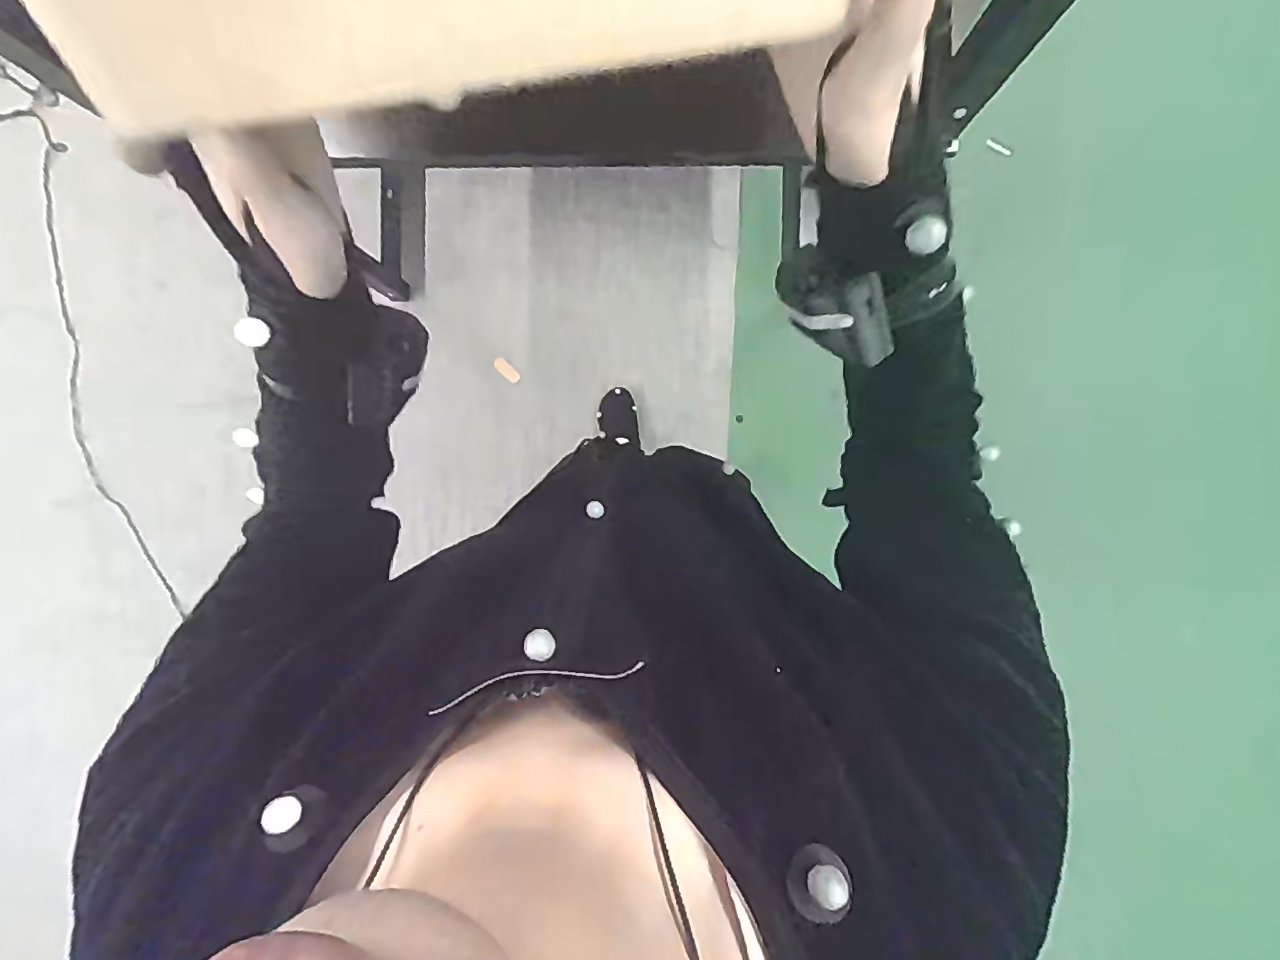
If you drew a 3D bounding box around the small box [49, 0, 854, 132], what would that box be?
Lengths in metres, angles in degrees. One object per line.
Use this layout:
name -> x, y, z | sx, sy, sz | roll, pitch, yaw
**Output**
small box -> -0.050, -0.206, 0.116 | 0.168, 0.176, 0.179 | -11, 135, -2
